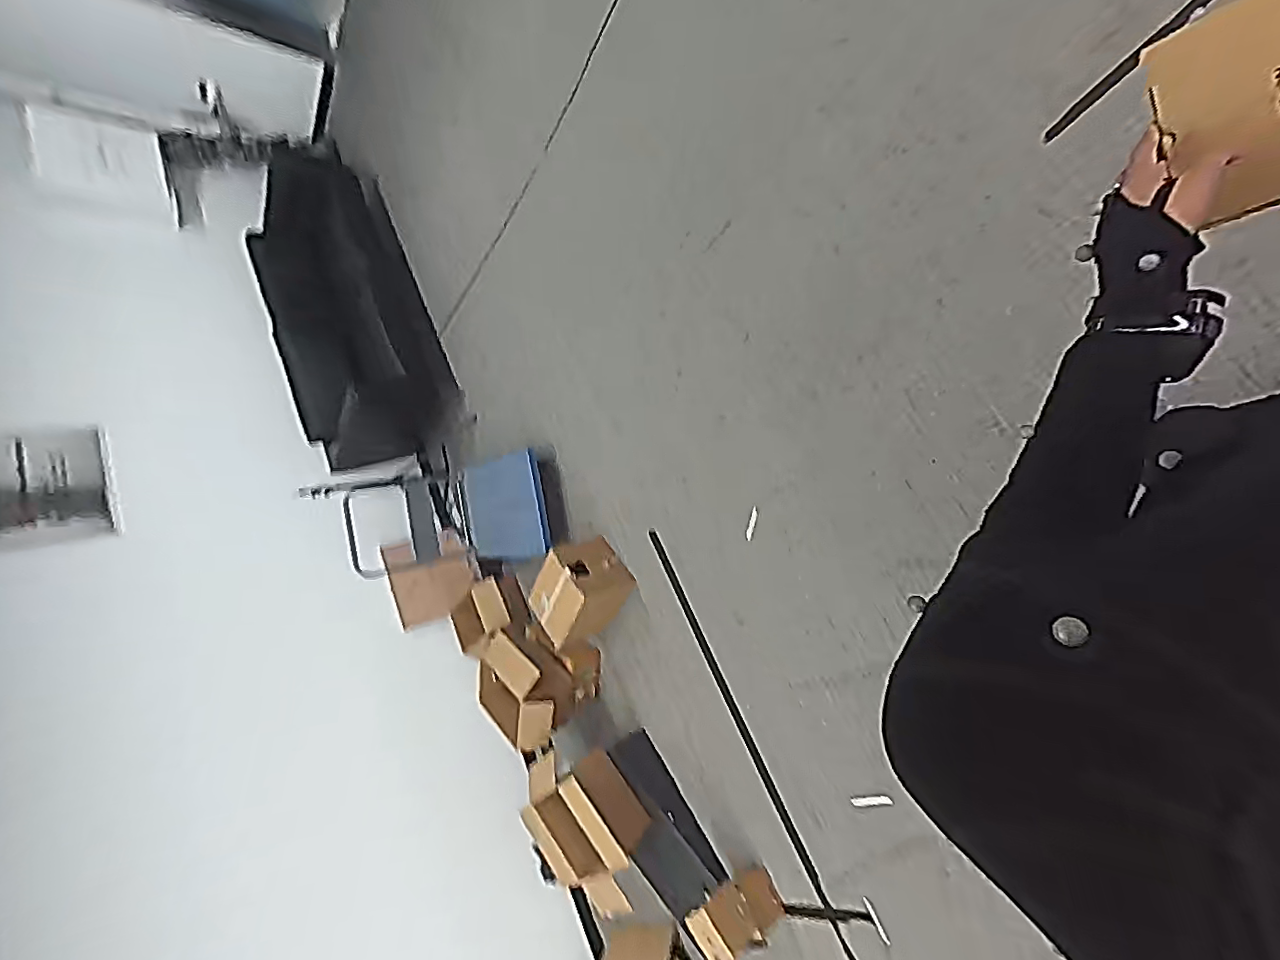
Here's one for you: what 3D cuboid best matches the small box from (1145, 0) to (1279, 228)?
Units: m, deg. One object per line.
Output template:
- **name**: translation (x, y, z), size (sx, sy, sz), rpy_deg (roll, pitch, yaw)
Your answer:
- **small box**: translation (0.577, -0.343, 0.472), size (0.179, 0.176, 0.168), rpy_deg (-12, 99, 48)
